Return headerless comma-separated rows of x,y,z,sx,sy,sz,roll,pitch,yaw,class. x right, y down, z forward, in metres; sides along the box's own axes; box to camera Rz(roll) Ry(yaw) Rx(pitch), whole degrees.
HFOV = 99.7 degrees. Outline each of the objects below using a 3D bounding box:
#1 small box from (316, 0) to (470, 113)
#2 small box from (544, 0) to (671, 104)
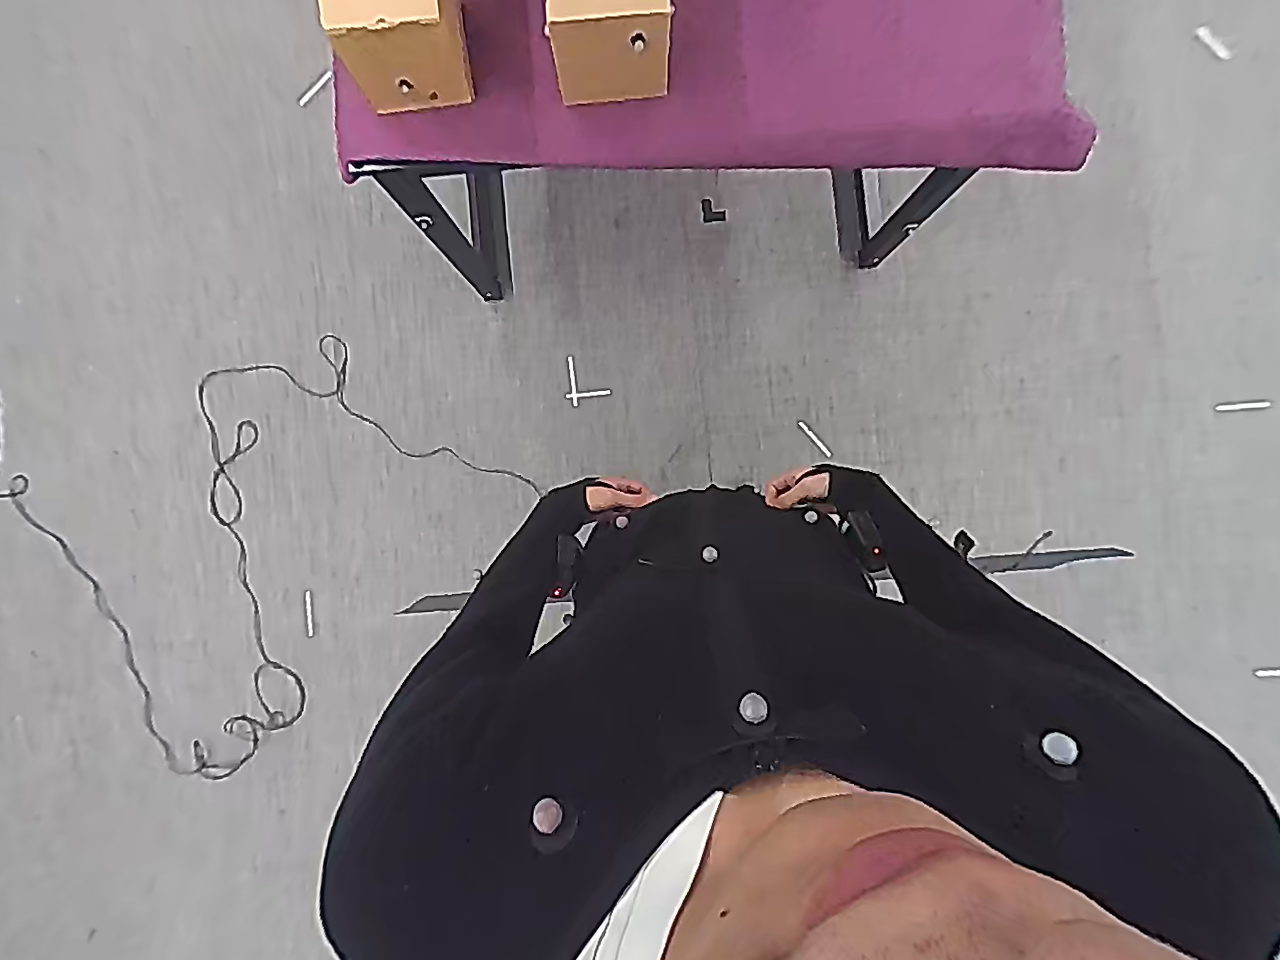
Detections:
-0.372,-0.708,0.825,0.168,0.176,0.179,-9,90,-1,small box
-0.050,-0.713,0.822,0.179,0.176,0.168,-5,90,1,small box
